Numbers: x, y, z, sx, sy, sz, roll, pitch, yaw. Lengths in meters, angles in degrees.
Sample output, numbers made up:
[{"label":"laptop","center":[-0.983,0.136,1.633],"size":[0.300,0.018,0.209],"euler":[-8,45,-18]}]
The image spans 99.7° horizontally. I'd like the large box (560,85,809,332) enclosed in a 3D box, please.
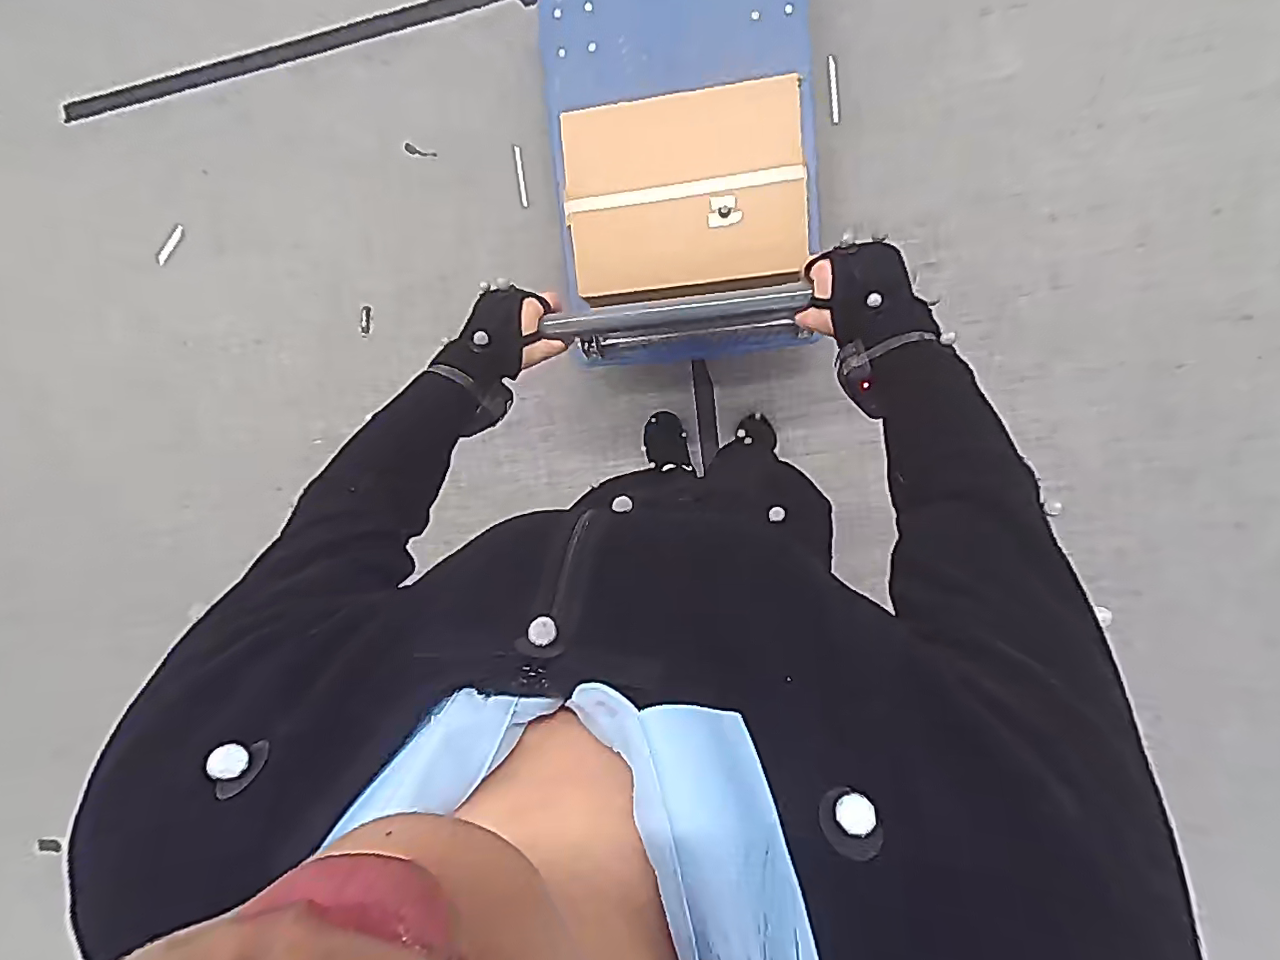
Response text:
[{"label":"large box","center":[0.088,-0.491,1.063],"size":[0.408,0.320,0.320],"euler":[-4,97,7]}]
